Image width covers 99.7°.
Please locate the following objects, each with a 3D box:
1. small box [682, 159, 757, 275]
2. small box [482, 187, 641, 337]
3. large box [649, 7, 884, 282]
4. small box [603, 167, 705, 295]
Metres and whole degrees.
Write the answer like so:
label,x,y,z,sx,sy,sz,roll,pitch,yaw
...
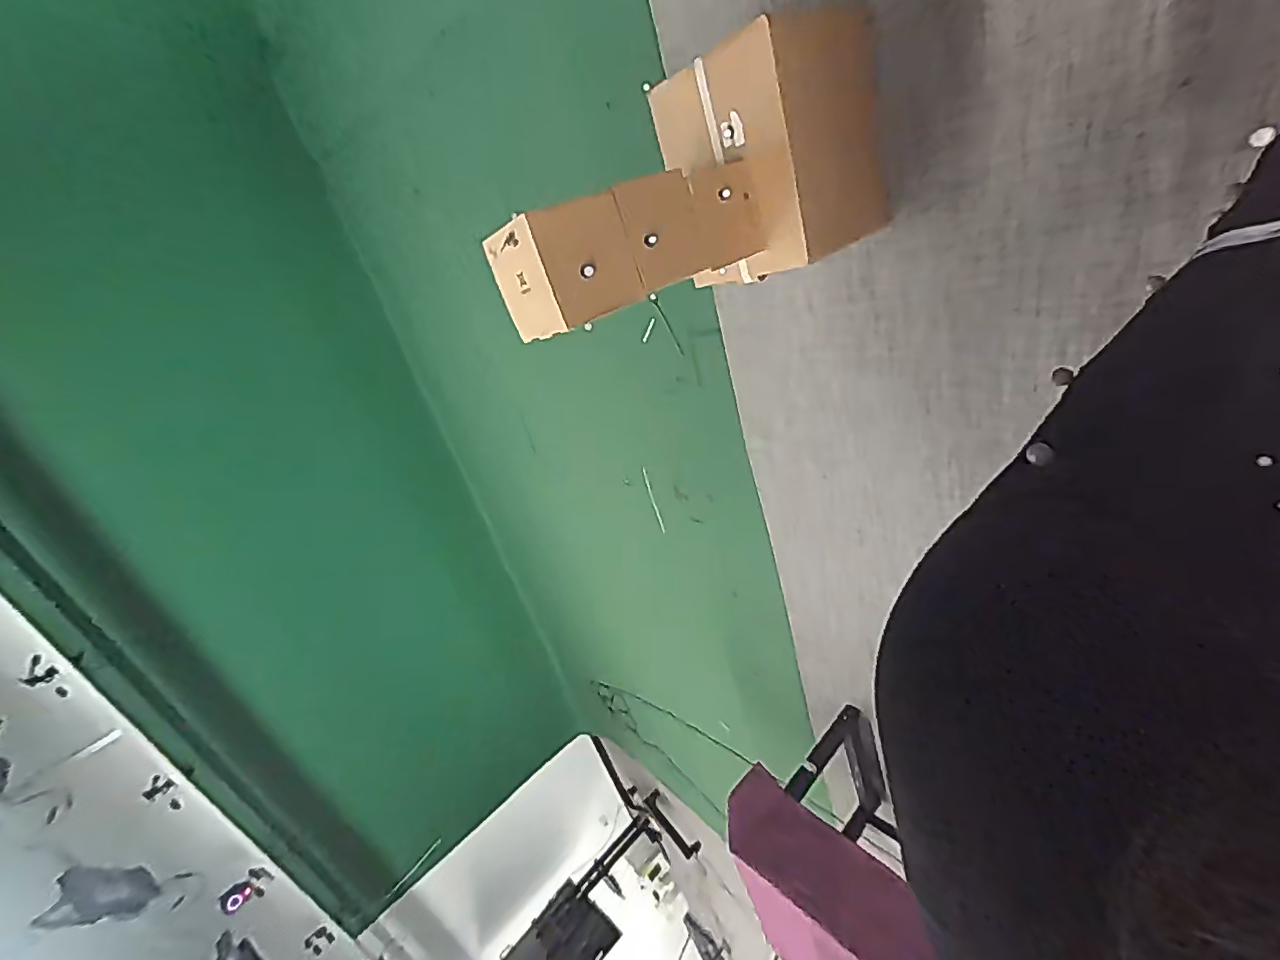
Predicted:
label,x,y,z,sx,sy,sz,roll,pitch,yaw
small box,0.112,-0.509,1.067,0.179,0.176,0.168,12,128,51
small box,-0.124,-0.356,0.898,0.168,0.176,0.179,9,126,52
large box,0.278,-0.684,1.147,0.320,0.320,0.408,13,128,50
small box,-0.007,-0.436,0.981,0.168,0.176,0.179,6,122,52
